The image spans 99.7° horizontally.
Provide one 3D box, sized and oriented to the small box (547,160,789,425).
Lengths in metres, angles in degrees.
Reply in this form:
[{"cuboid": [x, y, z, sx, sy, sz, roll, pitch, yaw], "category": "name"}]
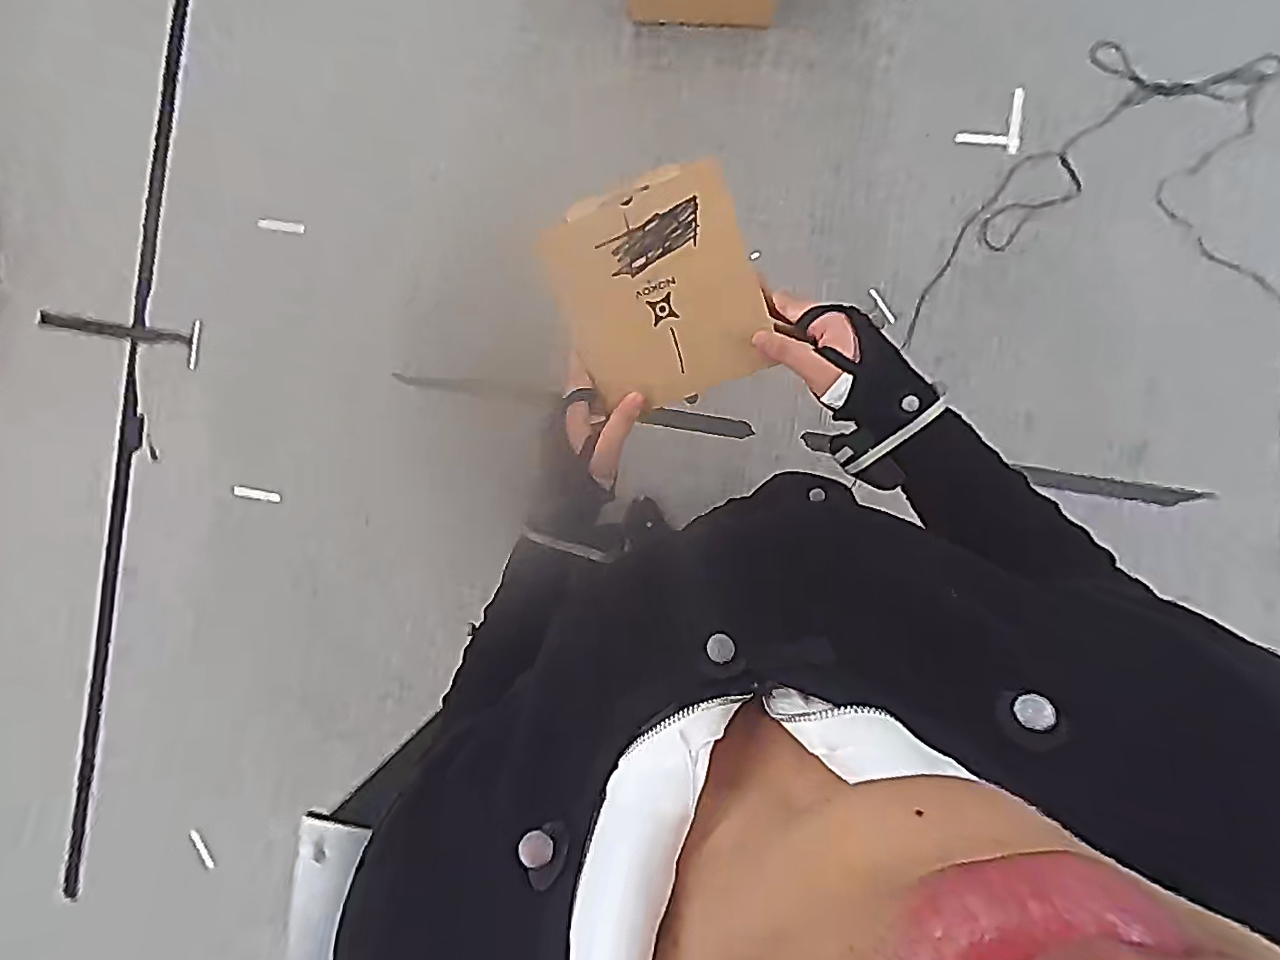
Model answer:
[{"cuboid": [0.030, -0.169, 0.533, 0.168, 0.176, 0.179, -18, 102, 9], "category": "small box"}]
